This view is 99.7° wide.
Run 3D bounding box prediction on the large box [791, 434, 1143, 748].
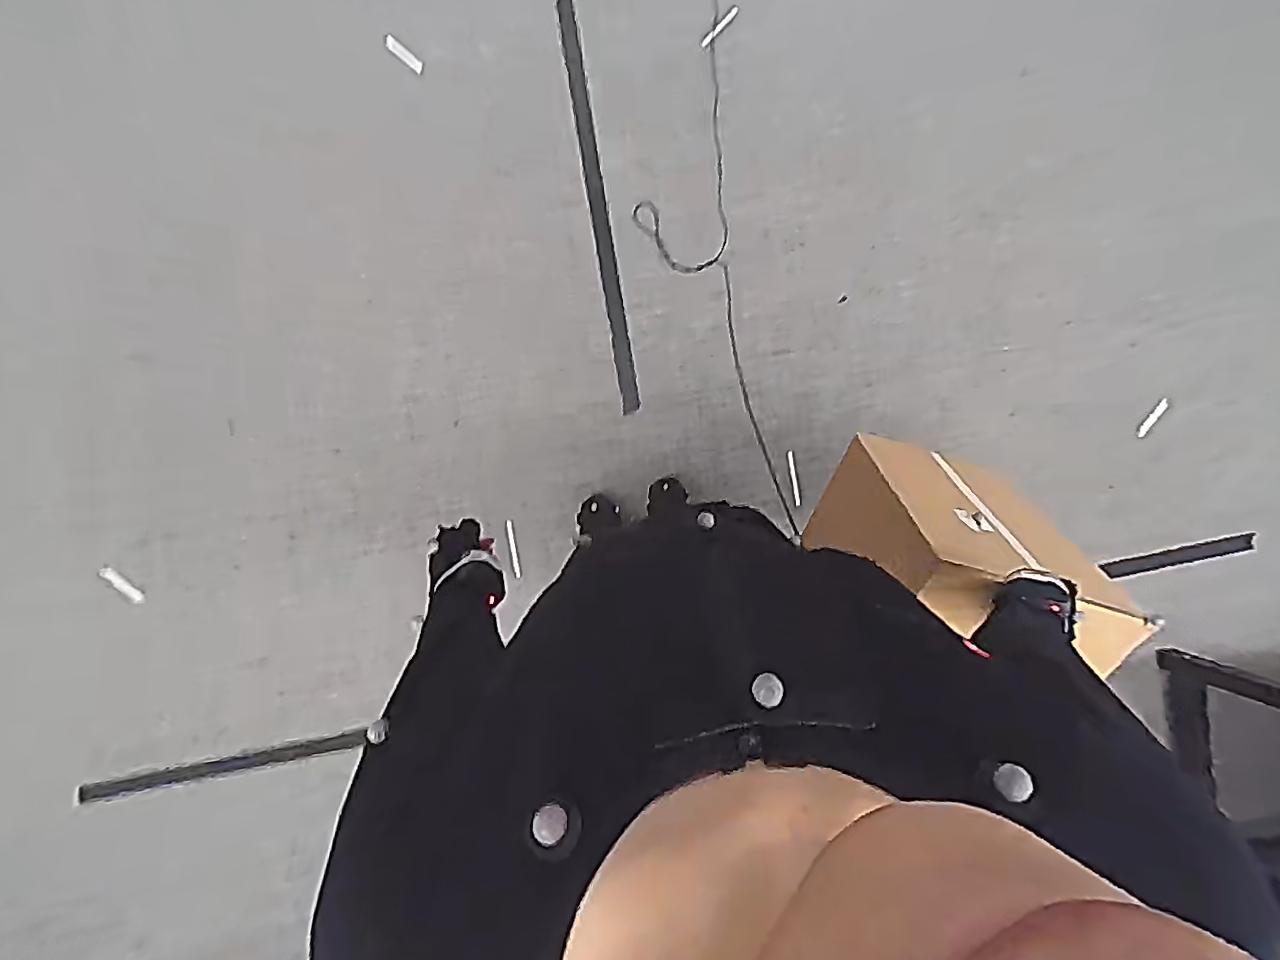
[{"bbox_3d":[0.503,0.176,0.957,0.320,0.408,0.320,15,121,-5],"label":"large box"}]
